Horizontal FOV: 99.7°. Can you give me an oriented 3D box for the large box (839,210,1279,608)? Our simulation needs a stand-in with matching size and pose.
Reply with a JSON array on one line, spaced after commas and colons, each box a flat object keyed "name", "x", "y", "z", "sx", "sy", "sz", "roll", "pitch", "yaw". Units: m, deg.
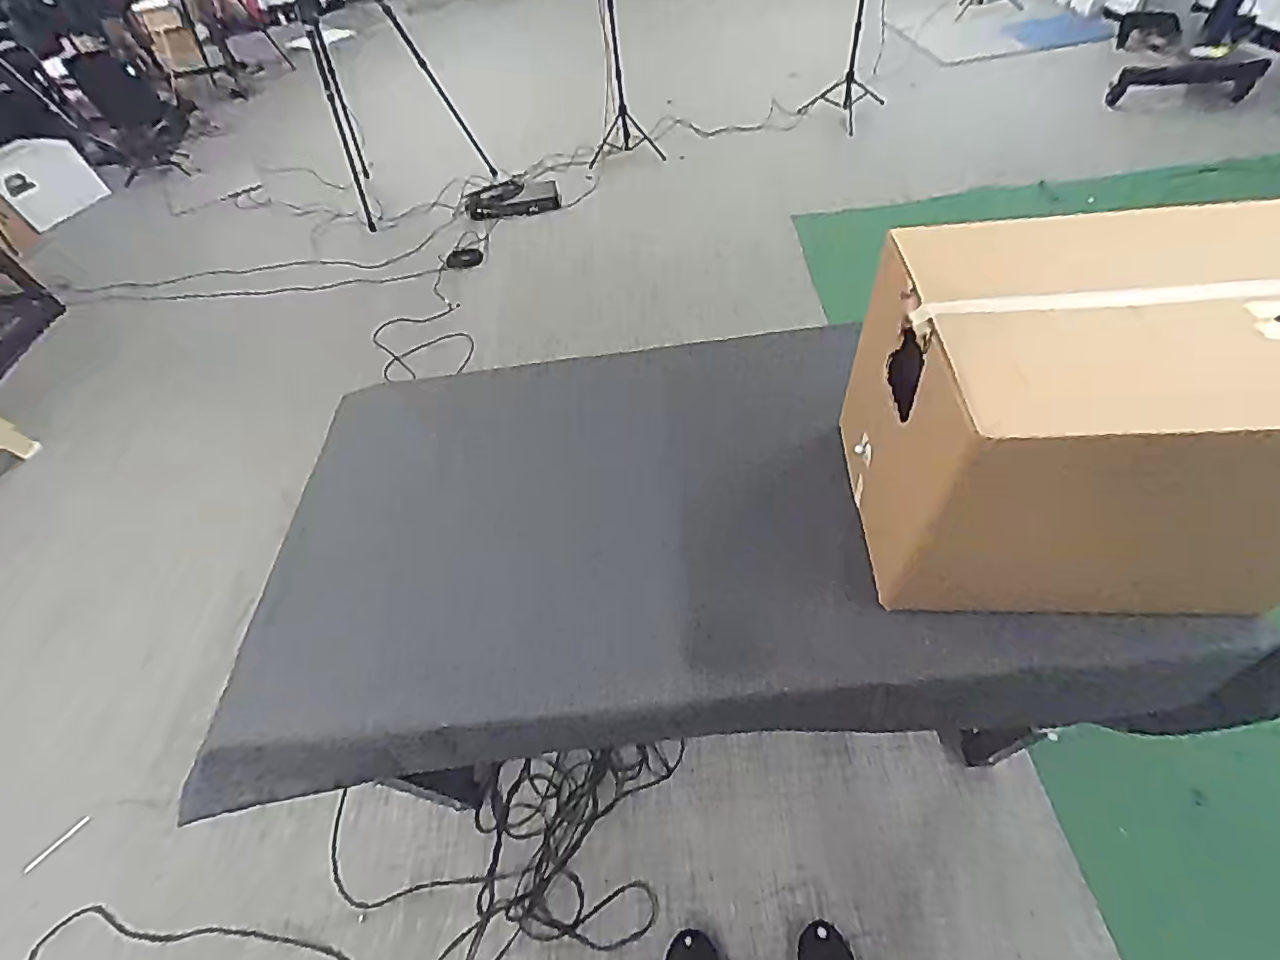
[{"name": "large box", "x": 0.477, "y": -0.064, "z": 0.599, "sx": 0.408, "sy": 0.320, "sz": 0.320, "roll": -1, "pitch": 52, "yaw": 6}]
